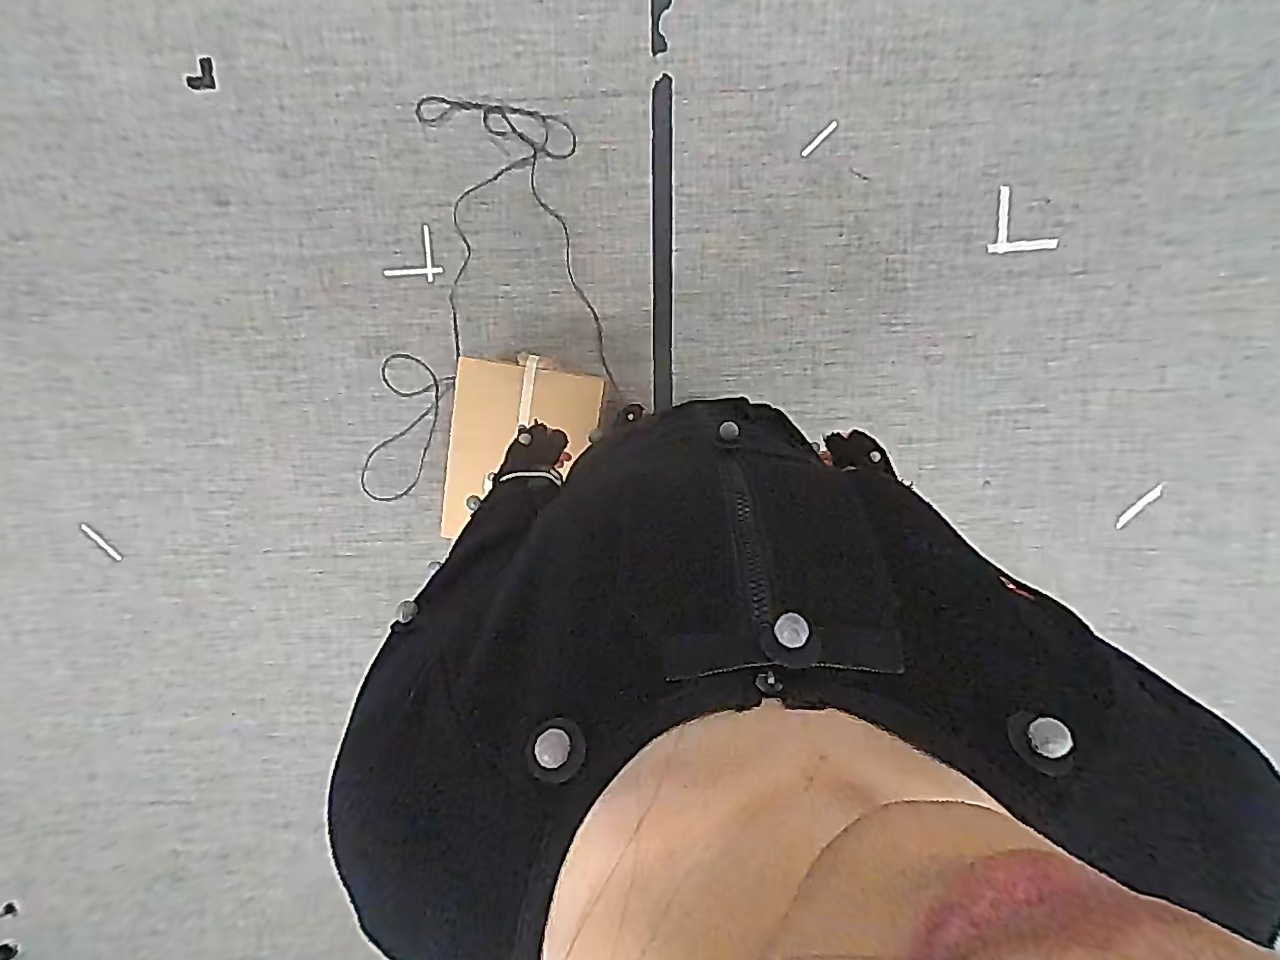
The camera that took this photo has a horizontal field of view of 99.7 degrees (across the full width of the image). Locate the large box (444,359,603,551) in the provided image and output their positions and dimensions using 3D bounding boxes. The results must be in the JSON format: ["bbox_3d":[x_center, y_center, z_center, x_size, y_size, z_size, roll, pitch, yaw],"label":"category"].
[{"bbox_3d":[-0.271,-0.078,1.346,0.320,0.320,0.408,9,101,-2],"label":"large box"}]
